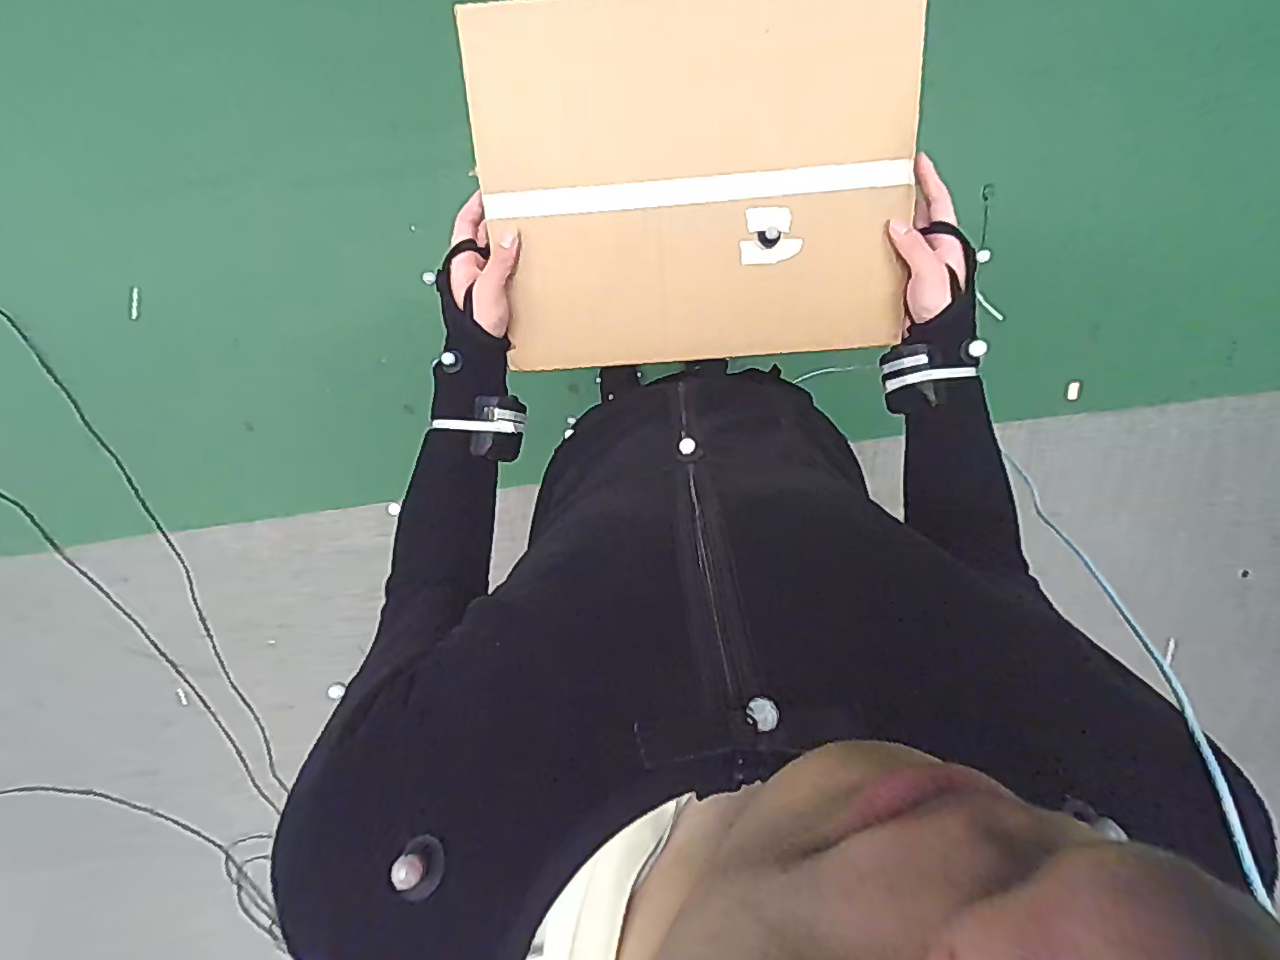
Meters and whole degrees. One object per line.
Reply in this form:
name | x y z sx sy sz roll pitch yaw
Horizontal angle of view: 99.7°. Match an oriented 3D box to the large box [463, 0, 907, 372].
large box | 0.047 -0.320 0.664 0.408 0.320 0.320 -4 108 1
